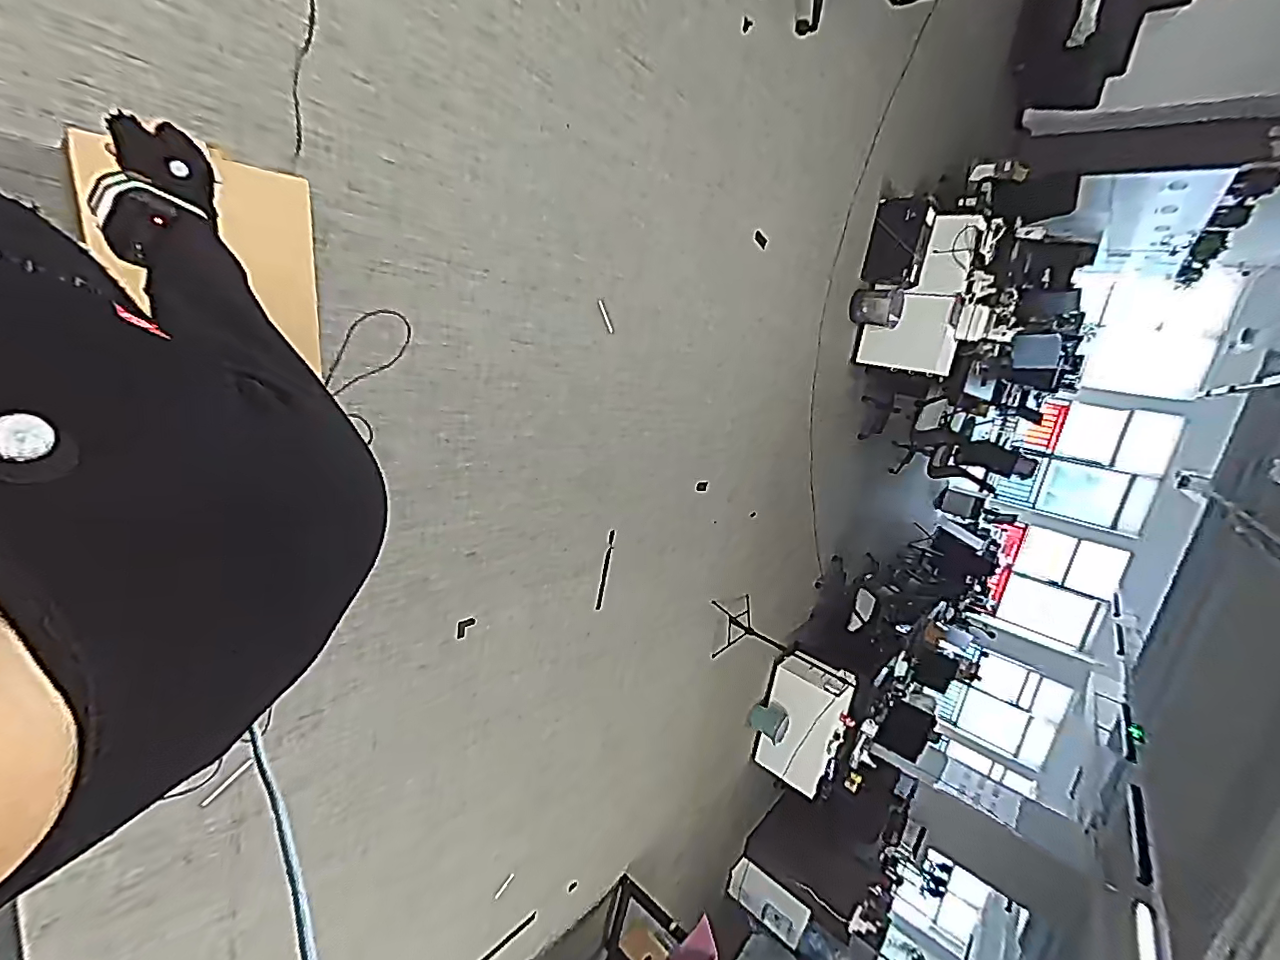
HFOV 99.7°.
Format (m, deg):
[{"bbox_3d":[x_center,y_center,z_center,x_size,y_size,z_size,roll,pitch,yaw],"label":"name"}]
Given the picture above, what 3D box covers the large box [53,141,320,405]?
[{"bbox_3d":[-0.860,-0.384,1.047,0.320,0.320,0.408,-13,118,-46],"label":"large box"}]
